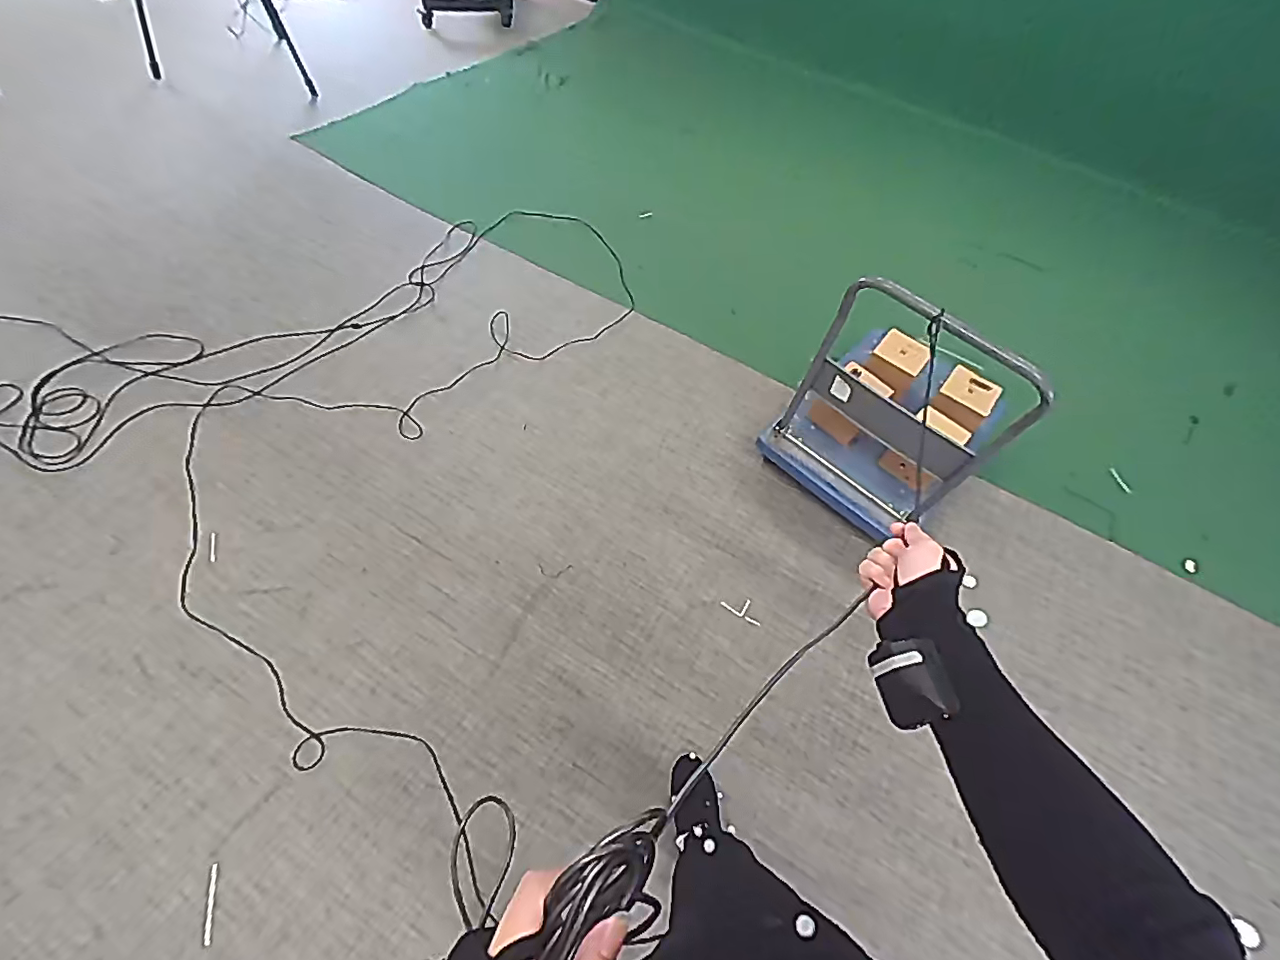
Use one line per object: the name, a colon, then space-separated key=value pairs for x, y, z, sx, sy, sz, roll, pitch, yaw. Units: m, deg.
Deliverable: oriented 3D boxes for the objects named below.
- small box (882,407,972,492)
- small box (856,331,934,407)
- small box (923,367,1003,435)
small box: x=0.919 y=-0.096 z=1.749 sx=0.168 sy=0.176 sz=0.179 roll=41 pitch=62 yaw=19
small box: x=0.908 y=-0.395 z=1.943 sx=0.168 sy=0.176 sz=0.179 roll=37 pitch=60 yaw=16
small box: x=1.103 y=-0.252 z=1.872 sx=0.168 sy=0.176 sz=0.179 roll=36 pitch=61 yaw=17
